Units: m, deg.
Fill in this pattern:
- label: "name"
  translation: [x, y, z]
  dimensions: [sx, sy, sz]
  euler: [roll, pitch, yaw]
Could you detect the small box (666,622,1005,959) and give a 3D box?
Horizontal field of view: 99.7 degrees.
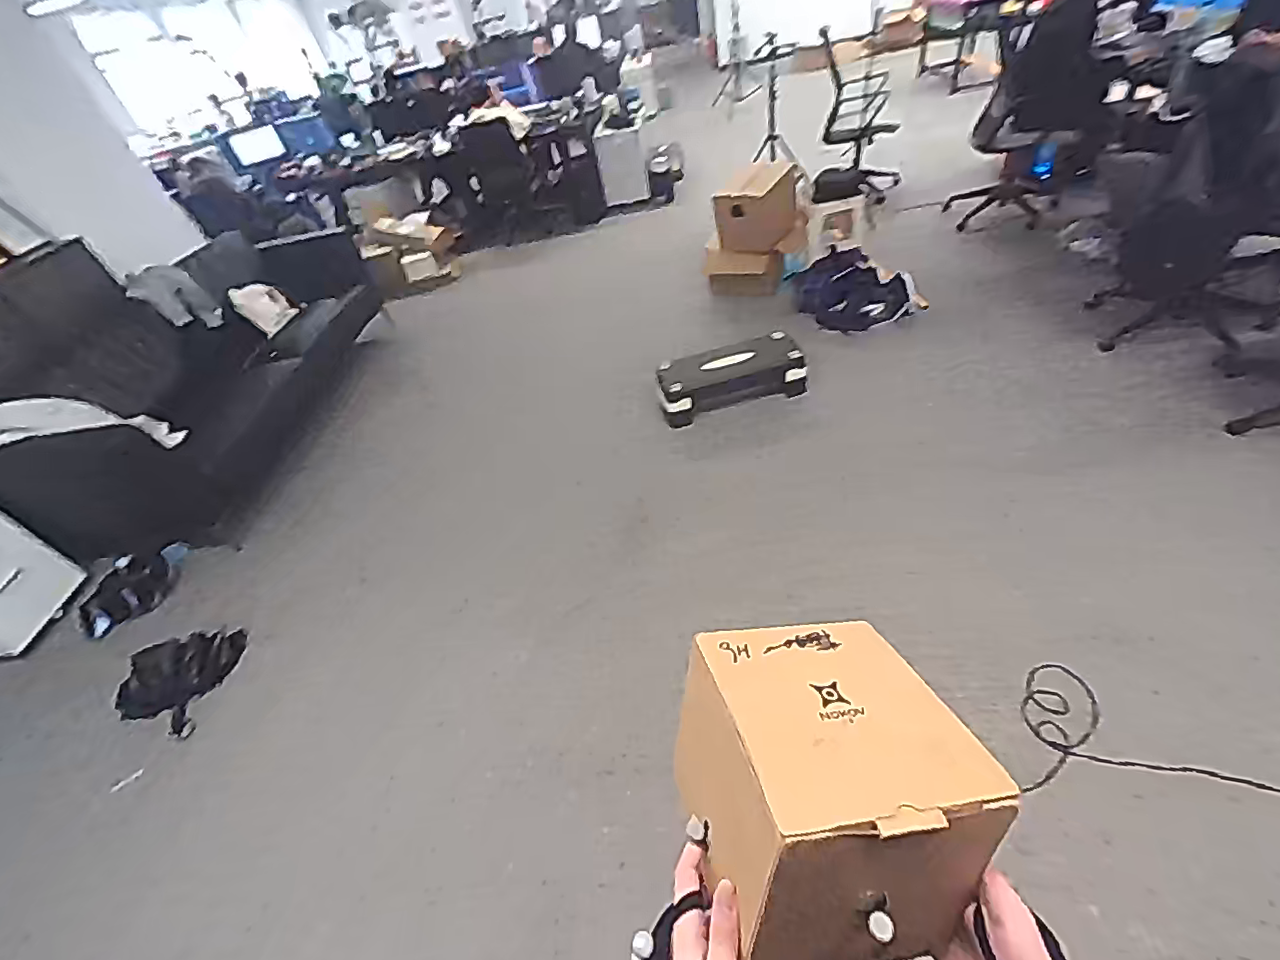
- label: "small box"
  translation: [0.124, 0.236, 0.422]
  dimensions: [0.168, 0.176, 0.179]
  euler: [1, 25, -13]
